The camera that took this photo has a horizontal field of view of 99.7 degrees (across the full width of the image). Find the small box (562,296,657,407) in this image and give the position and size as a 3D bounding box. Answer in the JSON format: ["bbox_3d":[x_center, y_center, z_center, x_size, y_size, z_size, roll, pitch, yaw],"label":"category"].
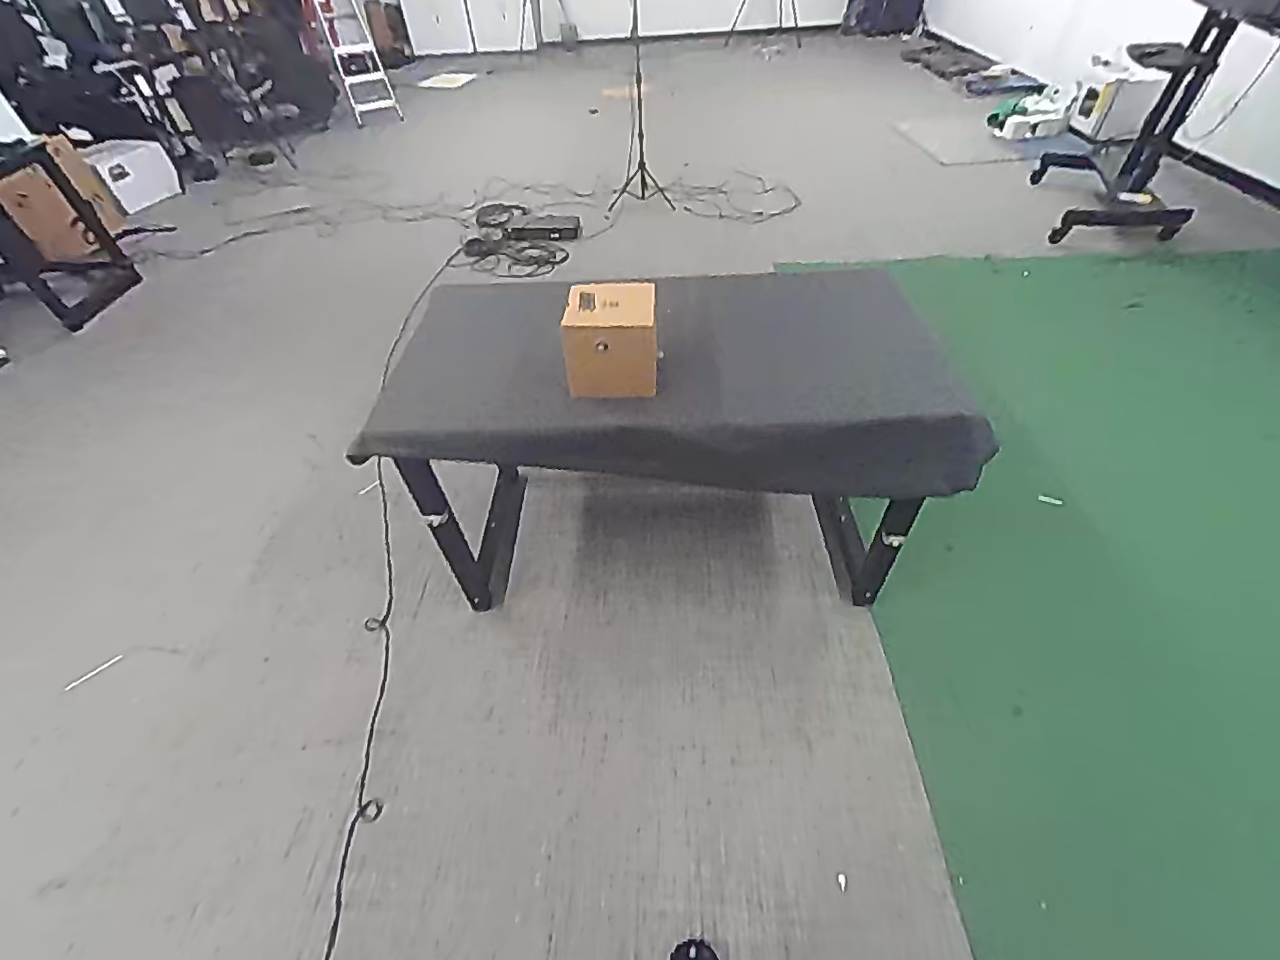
[{"bbox_3d":[-0.055,-0.266,1.129,0.179,0.176,0.168,0,47,3],"label":"small box"}]
